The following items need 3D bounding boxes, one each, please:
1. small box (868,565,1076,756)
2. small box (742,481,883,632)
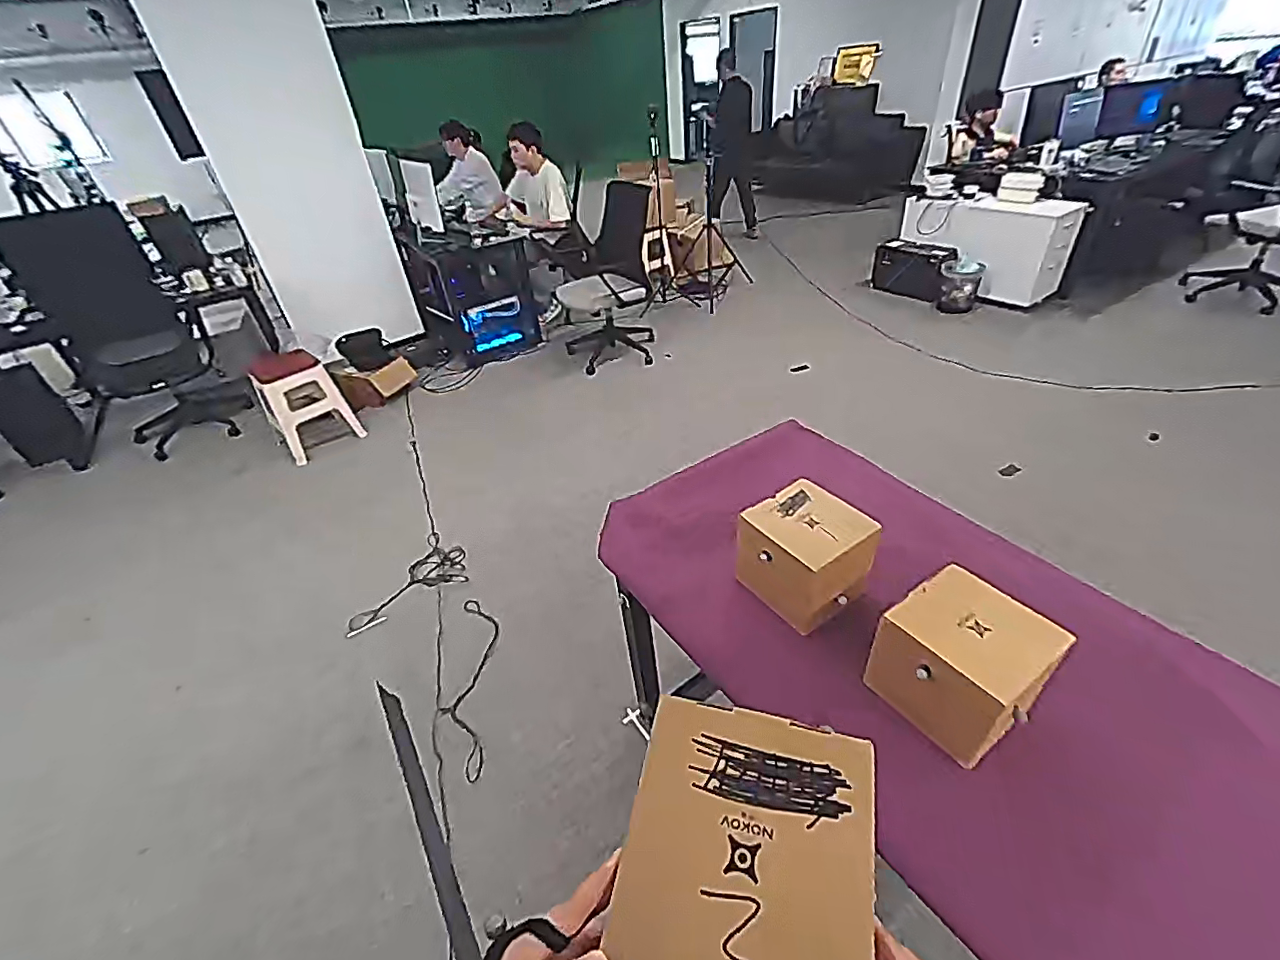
[{"bbox_3d":[0.464,0.263,0.781,0.168,0.176,0.179,-25,41,-24],"label":"small box"},{"bbox_3d":[0.298,0.135,0.973,0.168,0.176,0.179,-26,42,-24],"label":"small box"}]
